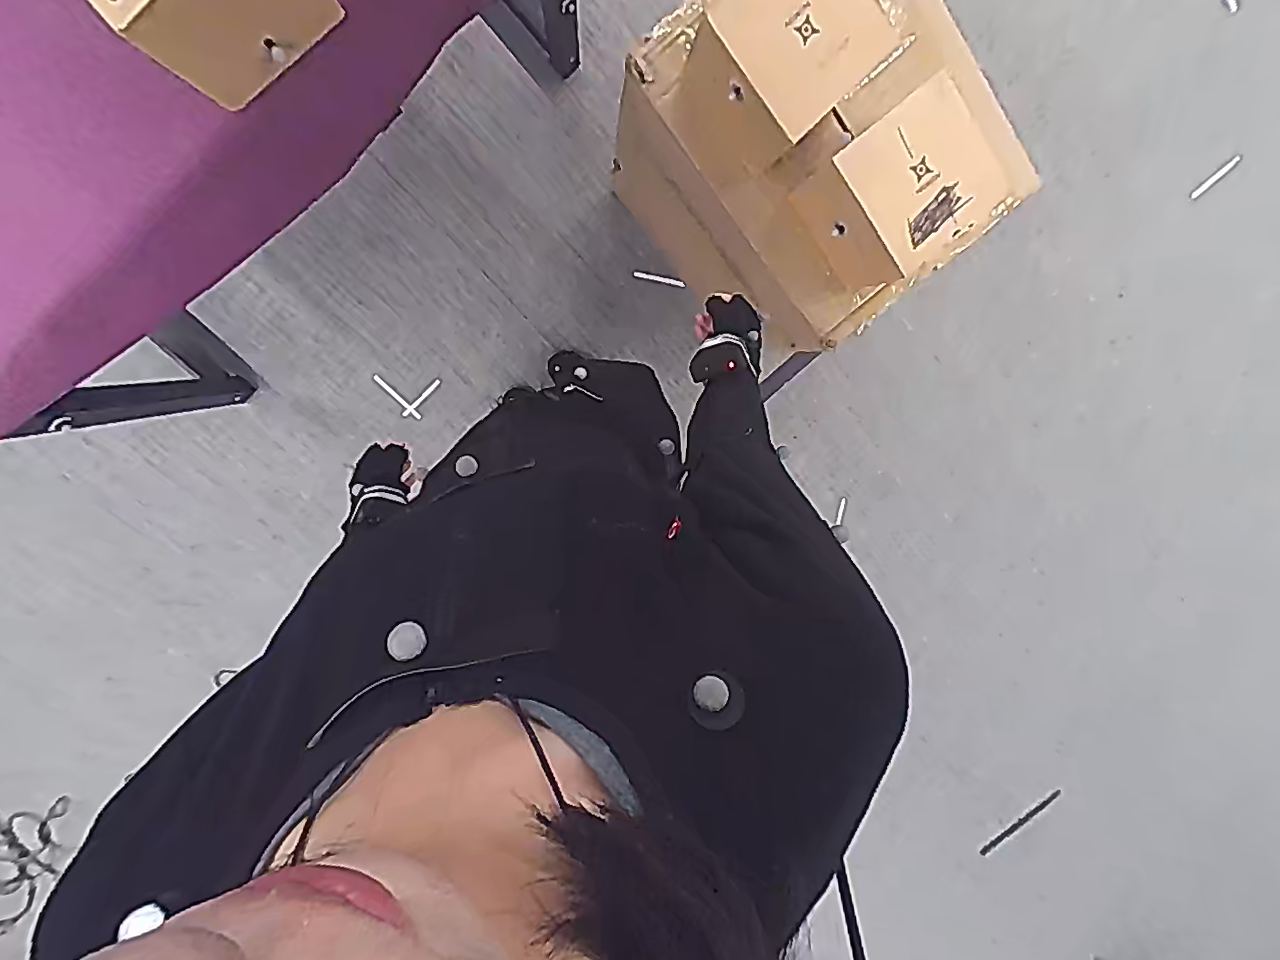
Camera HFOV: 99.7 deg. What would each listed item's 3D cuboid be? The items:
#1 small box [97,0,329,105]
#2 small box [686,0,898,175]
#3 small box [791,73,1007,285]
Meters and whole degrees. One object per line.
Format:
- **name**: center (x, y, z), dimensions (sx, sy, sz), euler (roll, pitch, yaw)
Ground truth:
- **small box**: center (-0.446, -0.528, 0.532), dimensions (0.179, 0.176, 0.168), euler (-38, 103, 3)
- **small box**: center (0.180, -0.536, 0.695), dimensions (0.168, 0.176, 0.179), euler (-41, 105, 6)
- **small box**: center (0.340, -0.389, 0.742), dimensions (0.168, 0.176, 0.179), euler (-38, 102, 5)
